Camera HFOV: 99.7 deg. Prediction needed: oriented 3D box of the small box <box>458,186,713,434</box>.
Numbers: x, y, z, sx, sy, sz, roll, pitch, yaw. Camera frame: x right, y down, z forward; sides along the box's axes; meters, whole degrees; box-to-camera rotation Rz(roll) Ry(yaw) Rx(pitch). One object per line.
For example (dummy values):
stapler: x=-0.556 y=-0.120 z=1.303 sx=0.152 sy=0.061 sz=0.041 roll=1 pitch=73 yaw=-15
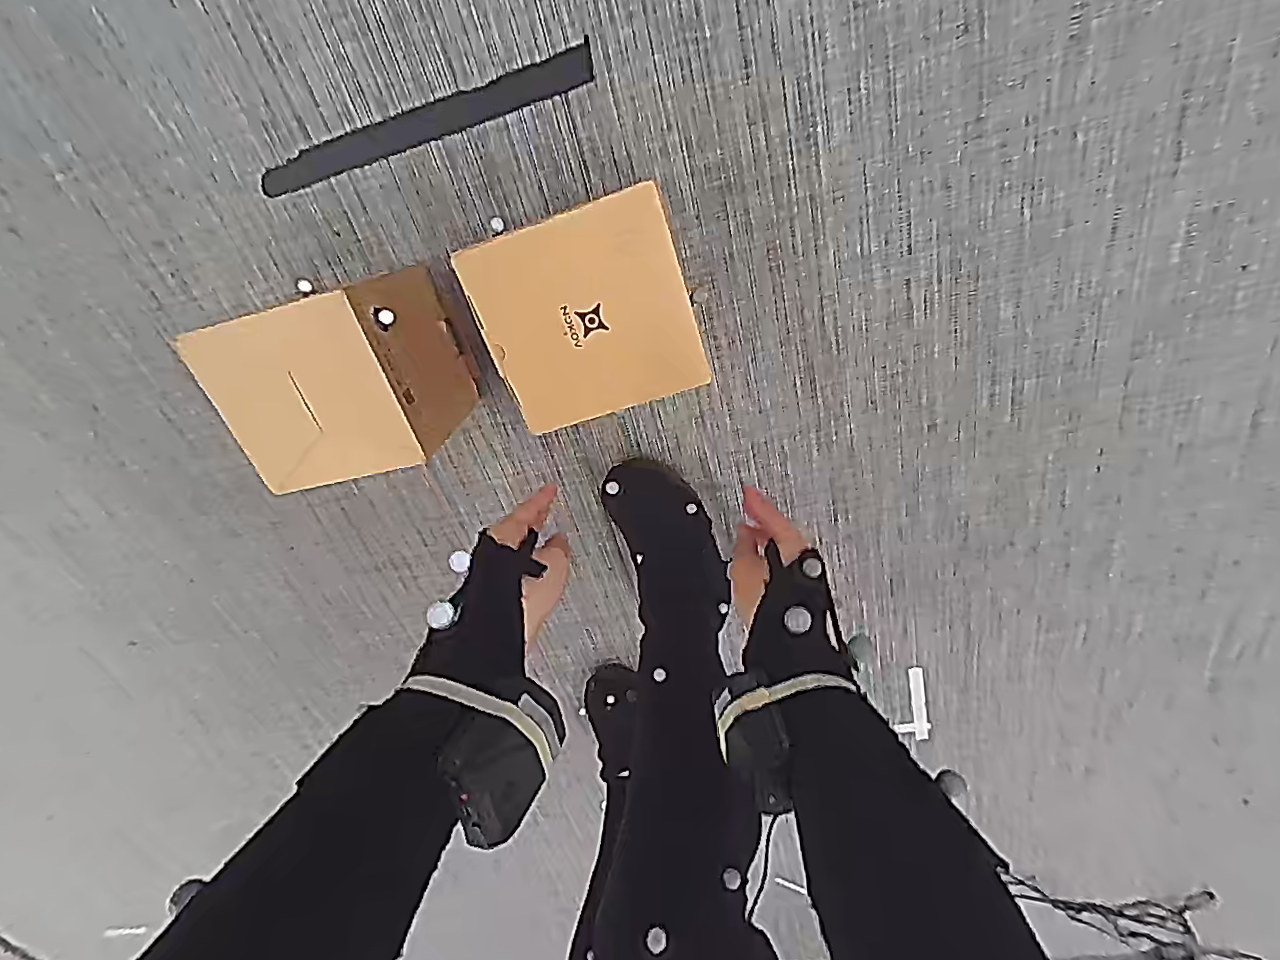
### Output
small box: x=-0.038 y=-0.171 z=0.524 sx=0.179 sy=0.176 sz=0.168 roll=-15 pitch=117 yaw=12

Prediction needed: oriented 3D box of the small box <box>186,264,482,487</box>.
small box: x=-0.299 y=-0.110 z=0.566 sx=0.179 sy=0.176 sz=0.168 roll=-11 pitch=117 yaw=9
